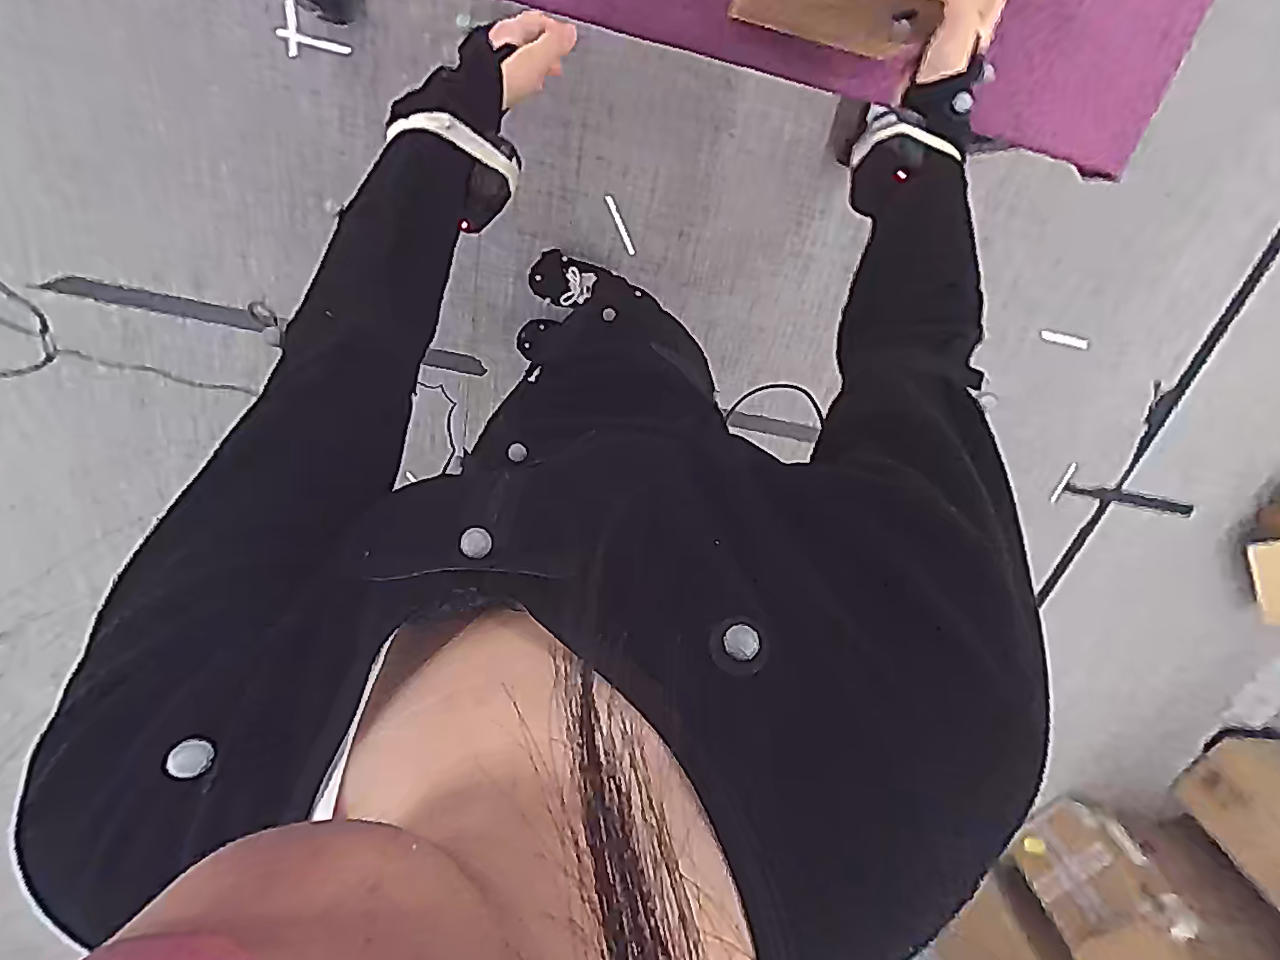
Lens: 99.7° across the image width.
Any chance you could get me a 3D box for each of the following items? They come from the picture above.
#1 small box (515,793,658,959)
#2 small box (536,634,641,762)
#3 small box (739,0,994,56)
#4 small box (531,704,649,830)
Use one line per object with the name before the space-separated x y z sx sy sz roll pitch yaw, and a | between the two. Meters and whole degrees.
small box | -0.080 0.585 0.774 0.168 0.176 0.179 9 116 -10
small box | -0.102 0.434 1.061 0.168 0.176 0.179 10 118 -11
small box | 0.202 -0.486 0.450 0.179 0.176 0.168 9 116 -9
small box | -0.090 0.508 0.917 0.168 0.176 0.179 9 117 -10
